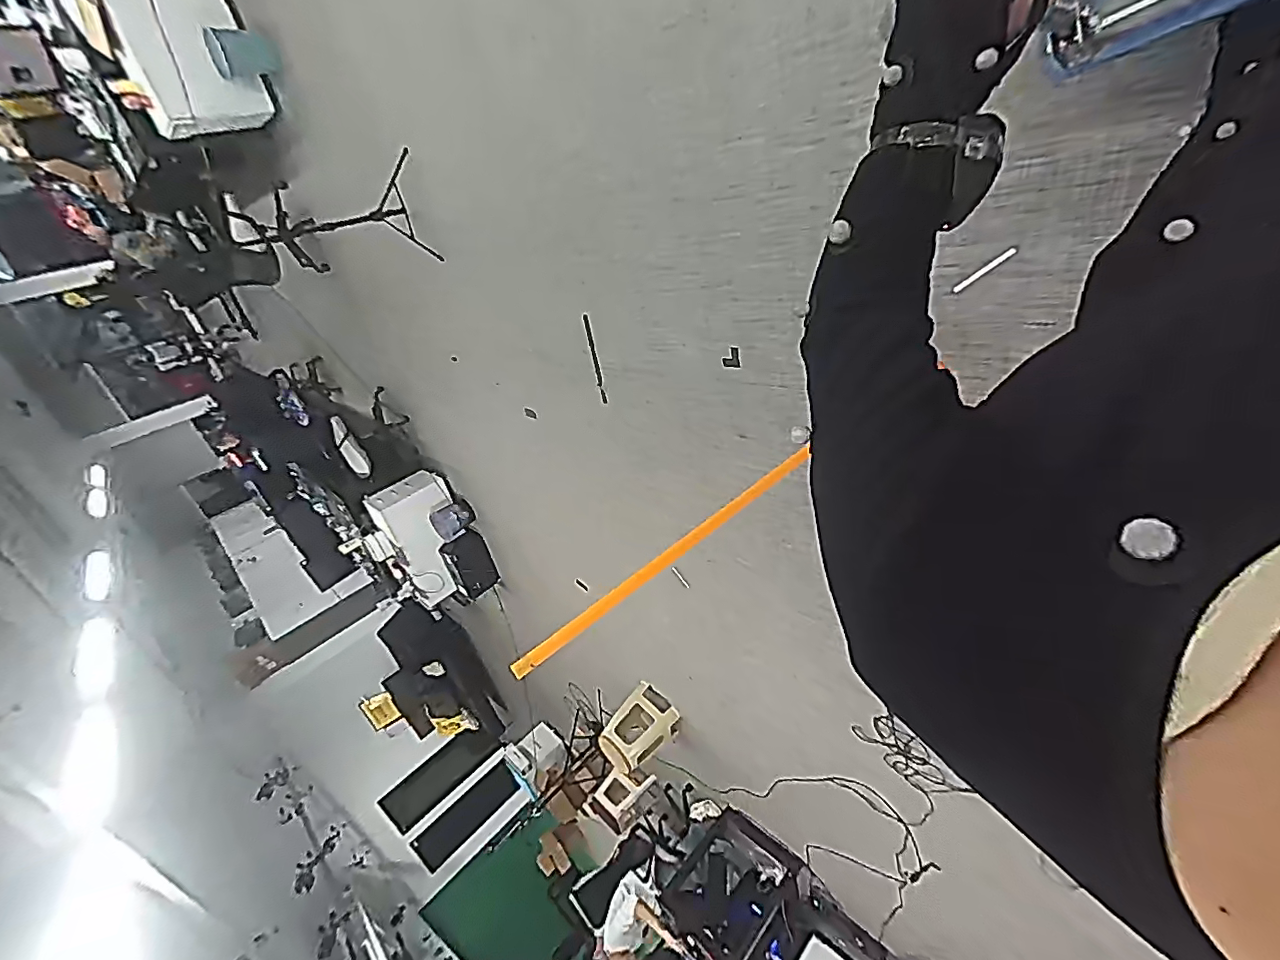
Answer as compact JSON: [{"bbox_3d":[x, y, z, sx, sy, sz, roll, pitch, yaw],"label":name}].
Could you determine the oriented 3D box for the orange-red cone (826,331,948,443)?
[{"bbox_3d":[0.549,-0.185,1.307,0.198,0.360,0.199,49,145,7],"label":"orange-red cone"}]
